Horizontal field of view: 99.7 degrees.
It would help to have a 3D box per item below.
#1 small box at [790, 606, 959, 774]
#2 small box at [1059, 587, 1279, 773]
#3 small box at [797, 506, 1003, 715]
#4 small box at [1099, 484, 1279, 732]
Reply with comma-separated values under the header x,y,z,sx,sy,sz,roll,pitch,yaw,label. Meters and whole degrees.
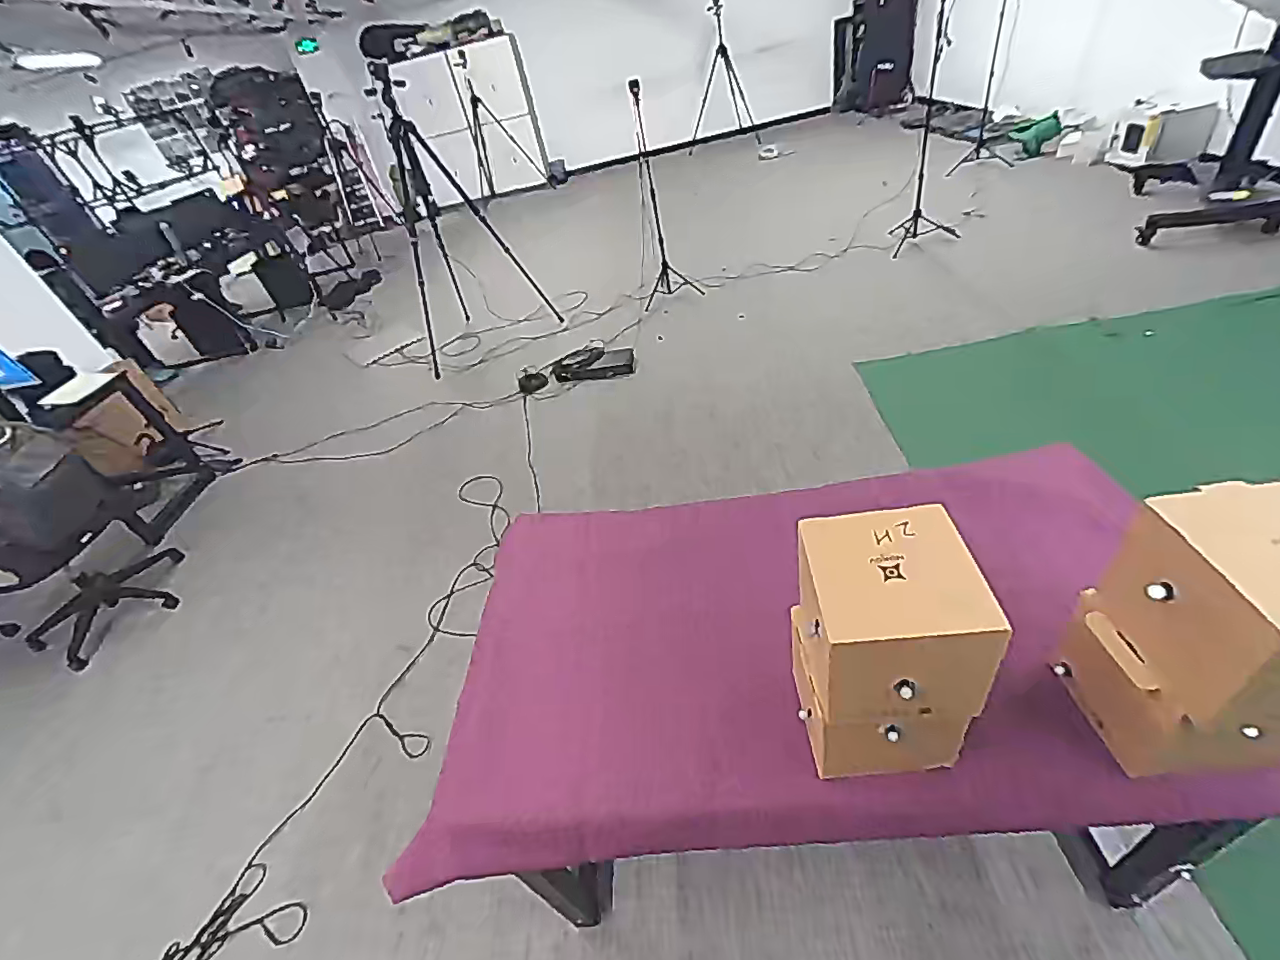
x,y,z,sx,sy,sz,roll,pitch,yaw,label
0.310,0.280,0.735,0.179,0.176,0.168,-9,38,8,small box
0.661,0.239,0.666,0.179,0.176,0.168,-10,39,6,small box
0.283,0.157,0.629,0.168,0.176,0.179,-7,39,10,small box
0.625,0.127,0.550,0.168,0.176,0.179,-9,38,8,small box
